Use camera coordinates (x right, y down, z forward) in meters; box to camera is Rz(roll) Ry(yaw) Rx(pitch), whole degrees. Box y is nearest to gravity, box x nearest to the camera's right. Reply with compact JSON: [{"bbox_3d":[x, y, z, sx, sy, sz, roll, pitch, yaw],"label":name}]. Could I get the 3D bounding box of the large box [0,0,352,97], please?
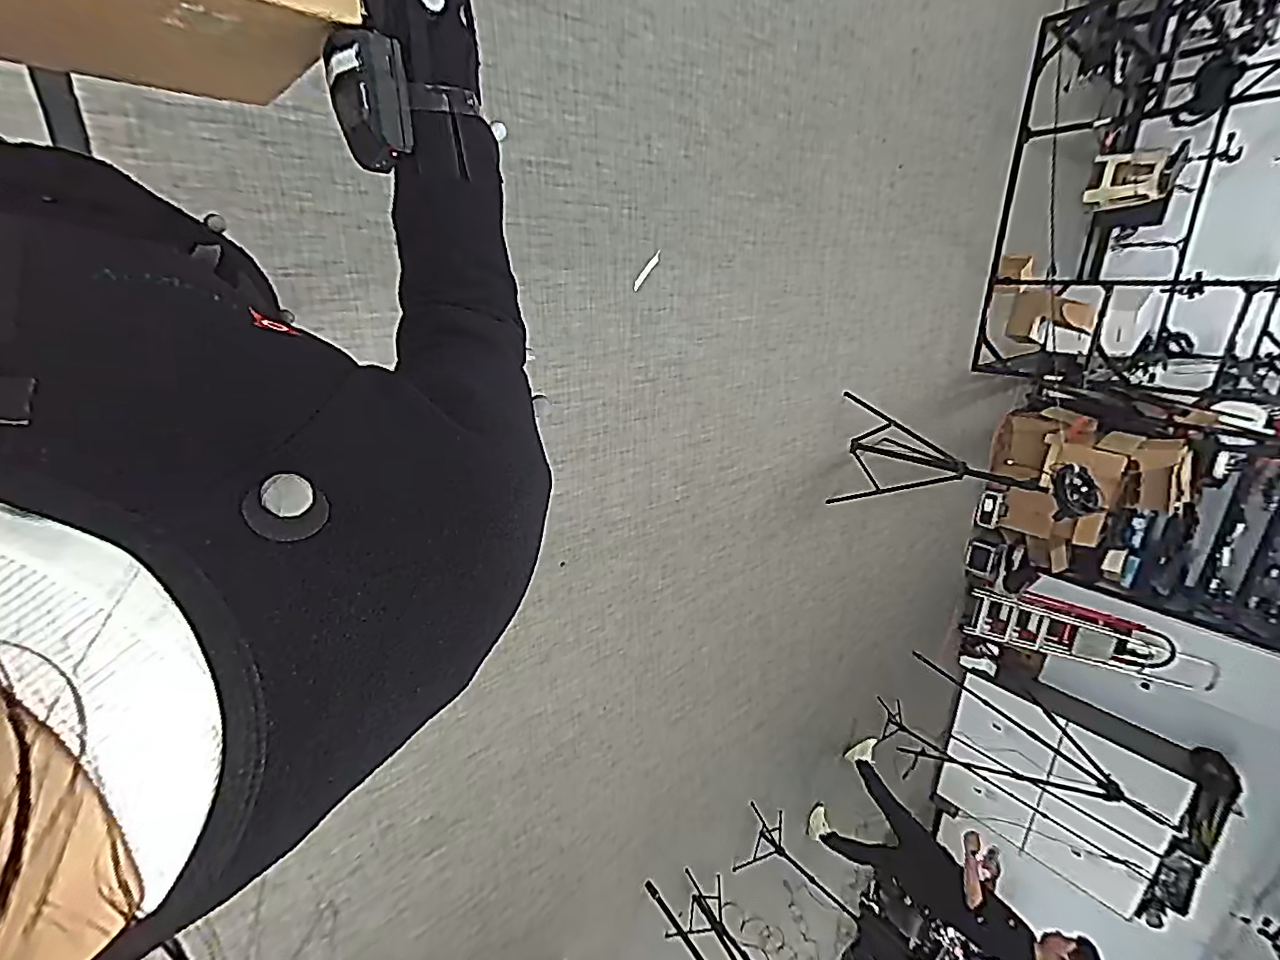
[{"bbox_3d":[-0.412,-0.412,0.241,0.408,0.320,0.320,-17,121,-38],"label":"large box"}]
